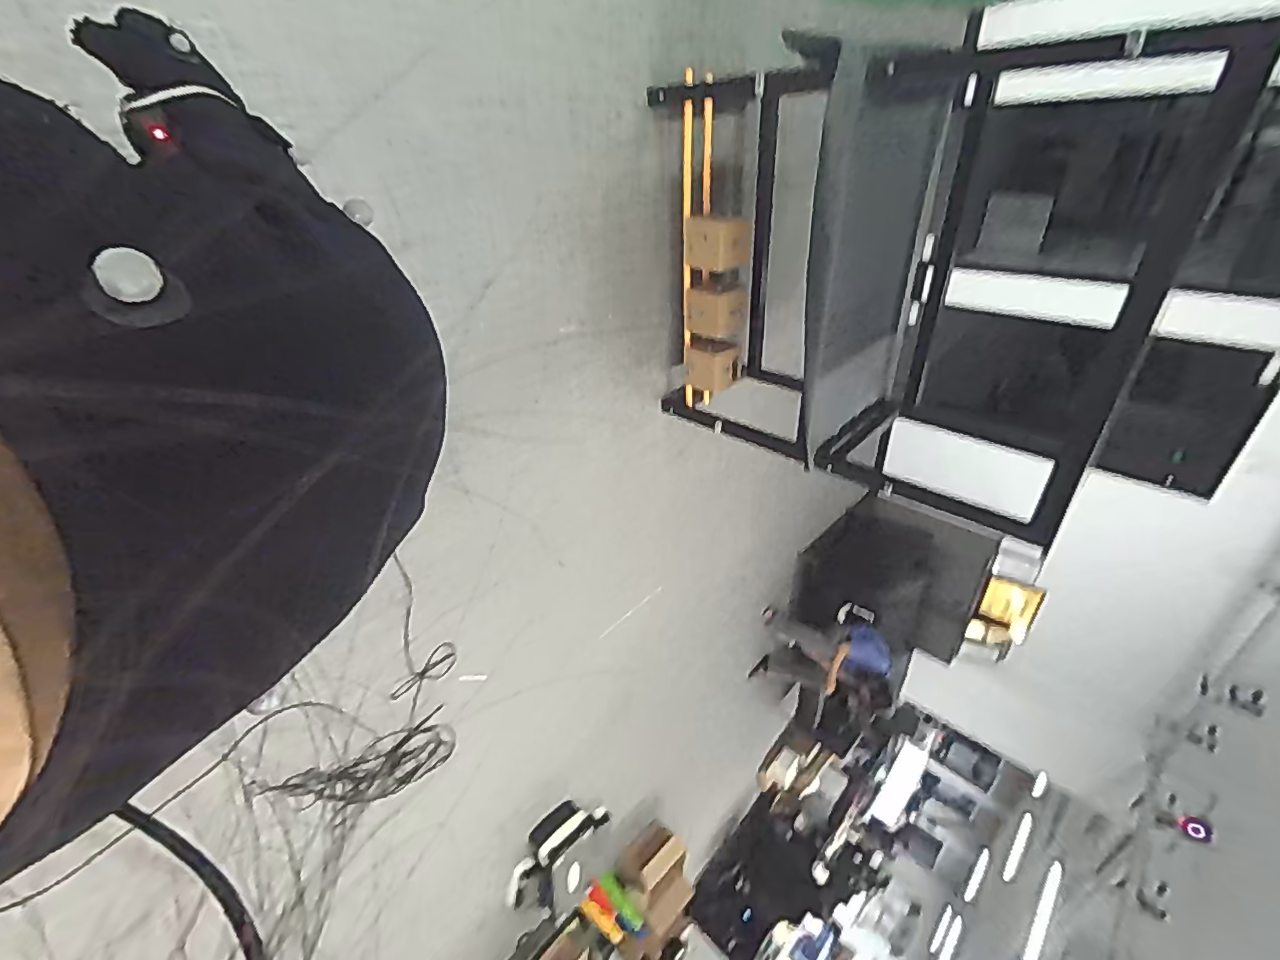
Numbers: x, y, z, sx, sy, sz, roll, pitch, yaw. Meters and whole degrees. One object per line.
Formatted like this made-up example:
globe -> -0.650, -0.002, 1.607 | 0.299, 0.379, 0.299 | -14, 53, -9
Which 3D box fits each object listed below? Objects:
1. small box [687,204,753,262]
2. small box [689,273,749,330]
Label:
small box -> 0.288, -0.902, 1.971 | 0.179, 0.176, 0.168 | -30, 133, -35
small box -> 0.305, -0.700, 2.110 | 0.179, 0.176, 0.168 | -31, 133, -34
